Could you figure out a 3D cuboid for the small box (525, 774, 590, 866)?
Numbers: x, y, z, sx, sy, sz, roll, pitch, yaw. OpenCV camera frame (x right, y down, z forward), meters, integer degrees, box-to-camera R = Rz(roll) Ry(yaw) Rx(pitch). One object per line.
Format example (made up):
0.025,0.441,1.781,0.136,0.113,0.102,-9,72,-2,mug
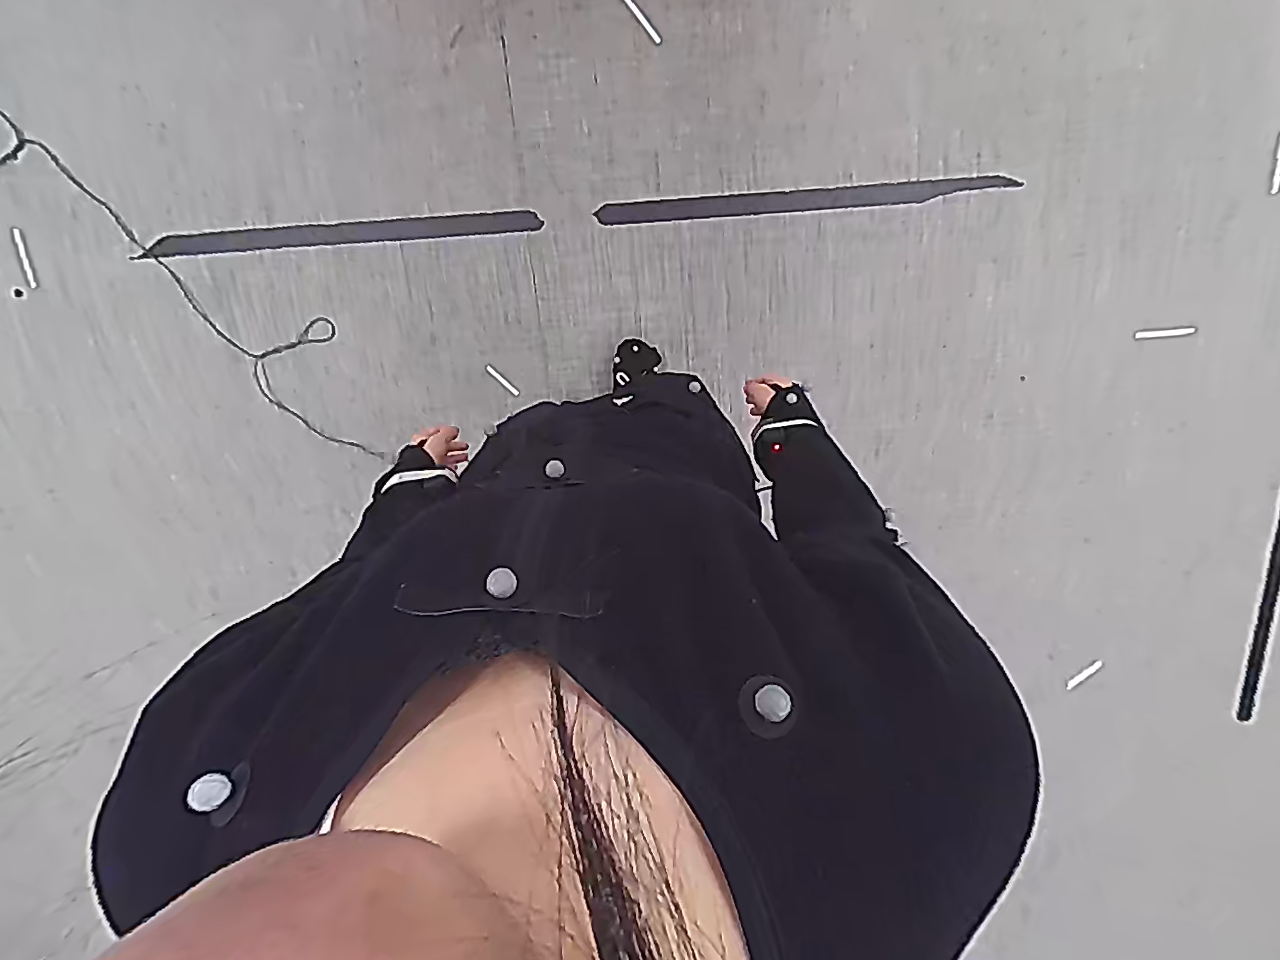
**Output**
-0.249,1.050,1.677,0.168,0.176,0.179,-6,104,1,small box
